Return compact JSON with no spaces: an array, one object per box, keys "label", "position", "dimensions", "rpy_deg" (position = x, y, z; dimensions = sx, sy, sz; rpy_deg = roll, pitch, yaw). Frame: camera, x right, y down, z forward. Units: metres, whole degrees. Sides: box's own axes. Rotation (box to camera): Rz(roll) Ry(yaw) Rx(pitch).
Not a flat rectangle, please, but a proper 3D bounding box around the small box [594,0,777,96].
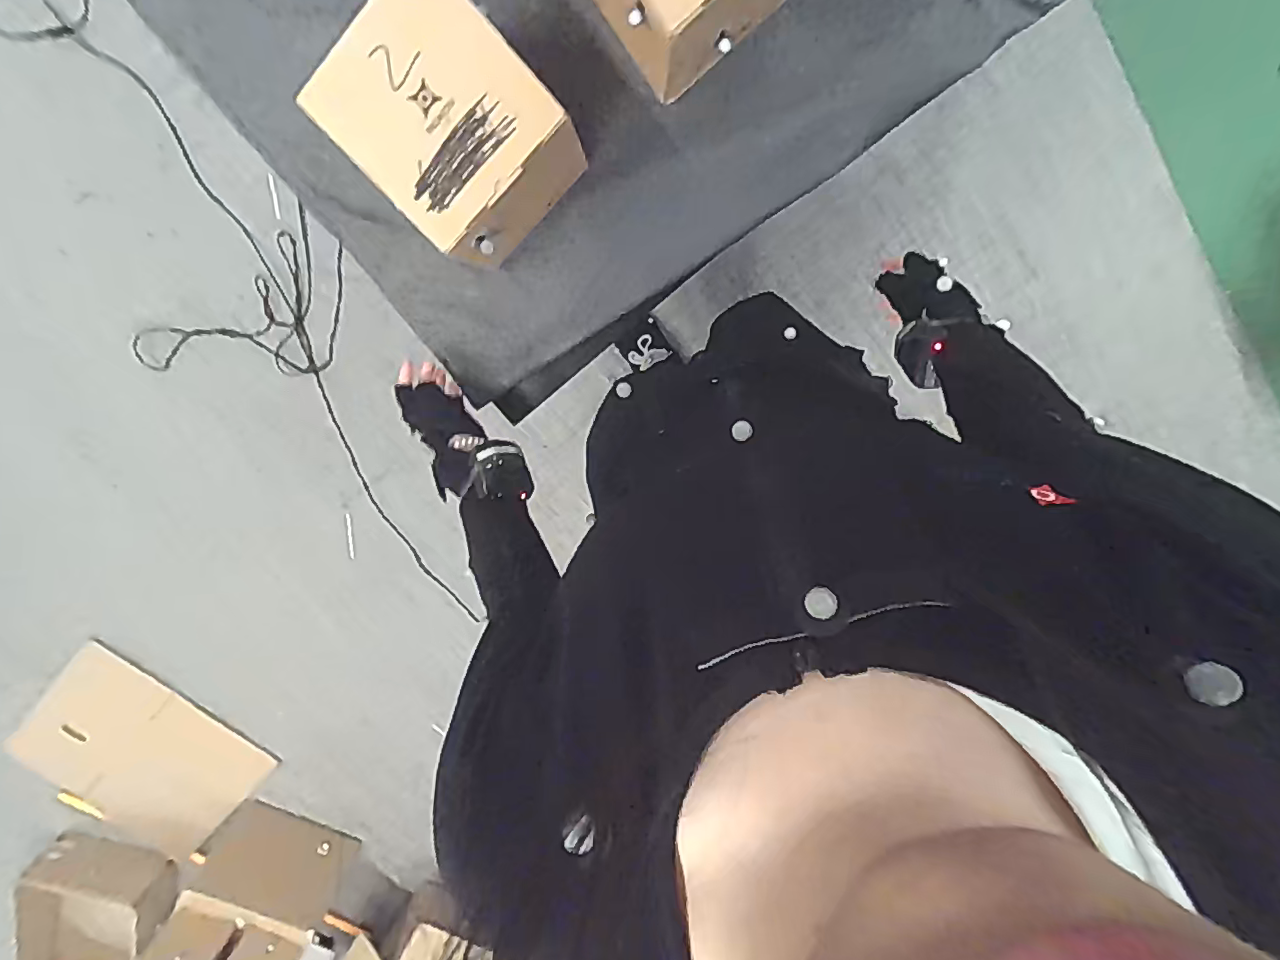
[{"label":"small box","position":[0.038,-0.510,0.497],"dimensions":[0.168,0.176,0.179],"rpy_deg":[-37,105,10]}]
